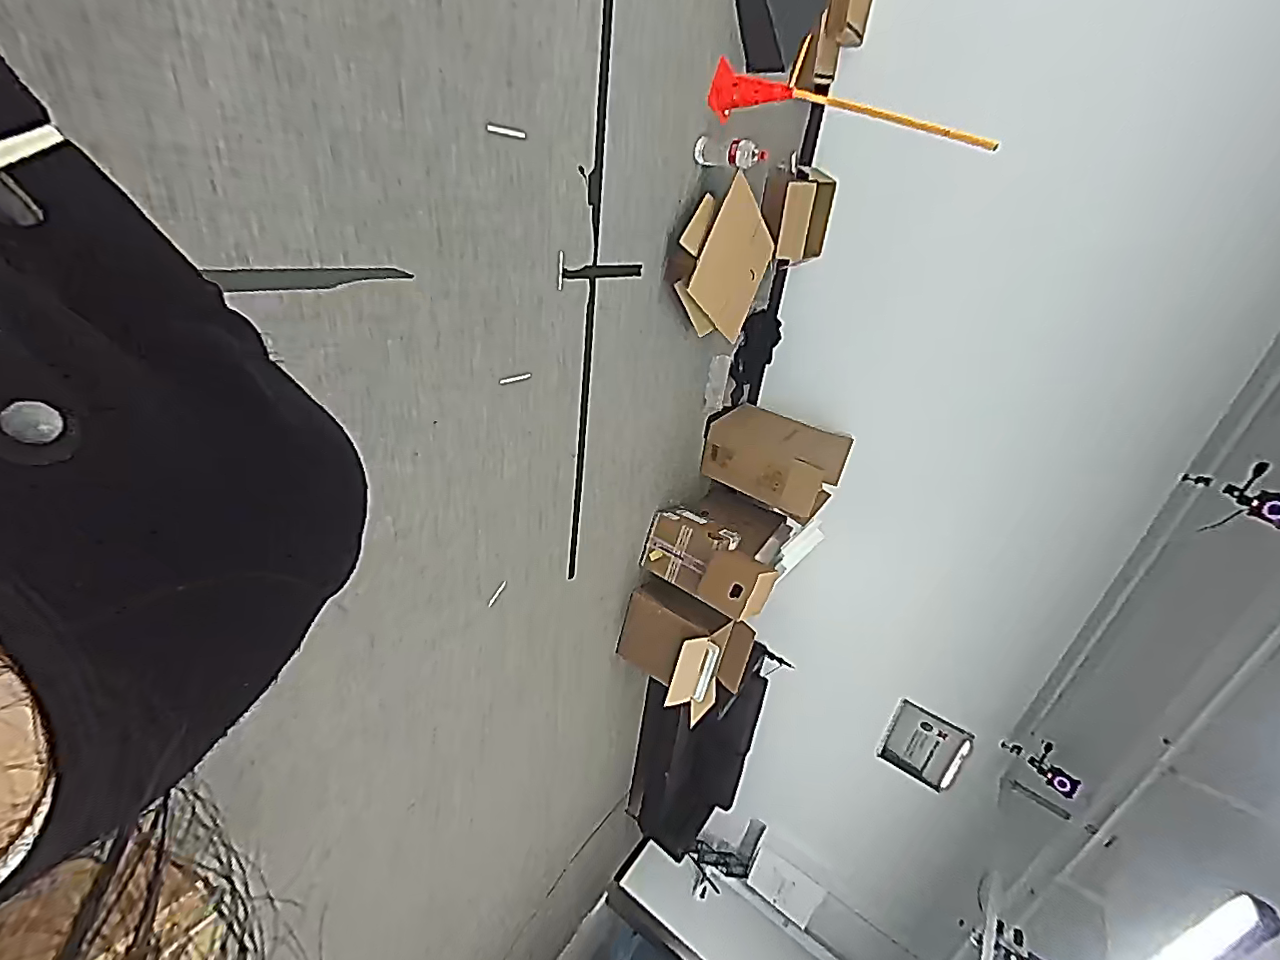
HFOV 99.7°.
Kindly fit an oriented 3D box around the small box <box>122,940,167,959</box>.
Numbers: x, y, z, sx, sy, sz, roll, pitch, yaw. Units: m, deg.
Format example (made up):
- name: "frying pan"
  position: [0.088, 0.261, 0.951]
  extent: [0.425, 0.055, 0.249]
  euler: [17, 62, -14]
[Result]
- name: "small box"
  position: [-1.211, 1.260, 1.281]
  extent: [0.179, 0.176, 0.168]
  euler: [-29, 133, -47]
